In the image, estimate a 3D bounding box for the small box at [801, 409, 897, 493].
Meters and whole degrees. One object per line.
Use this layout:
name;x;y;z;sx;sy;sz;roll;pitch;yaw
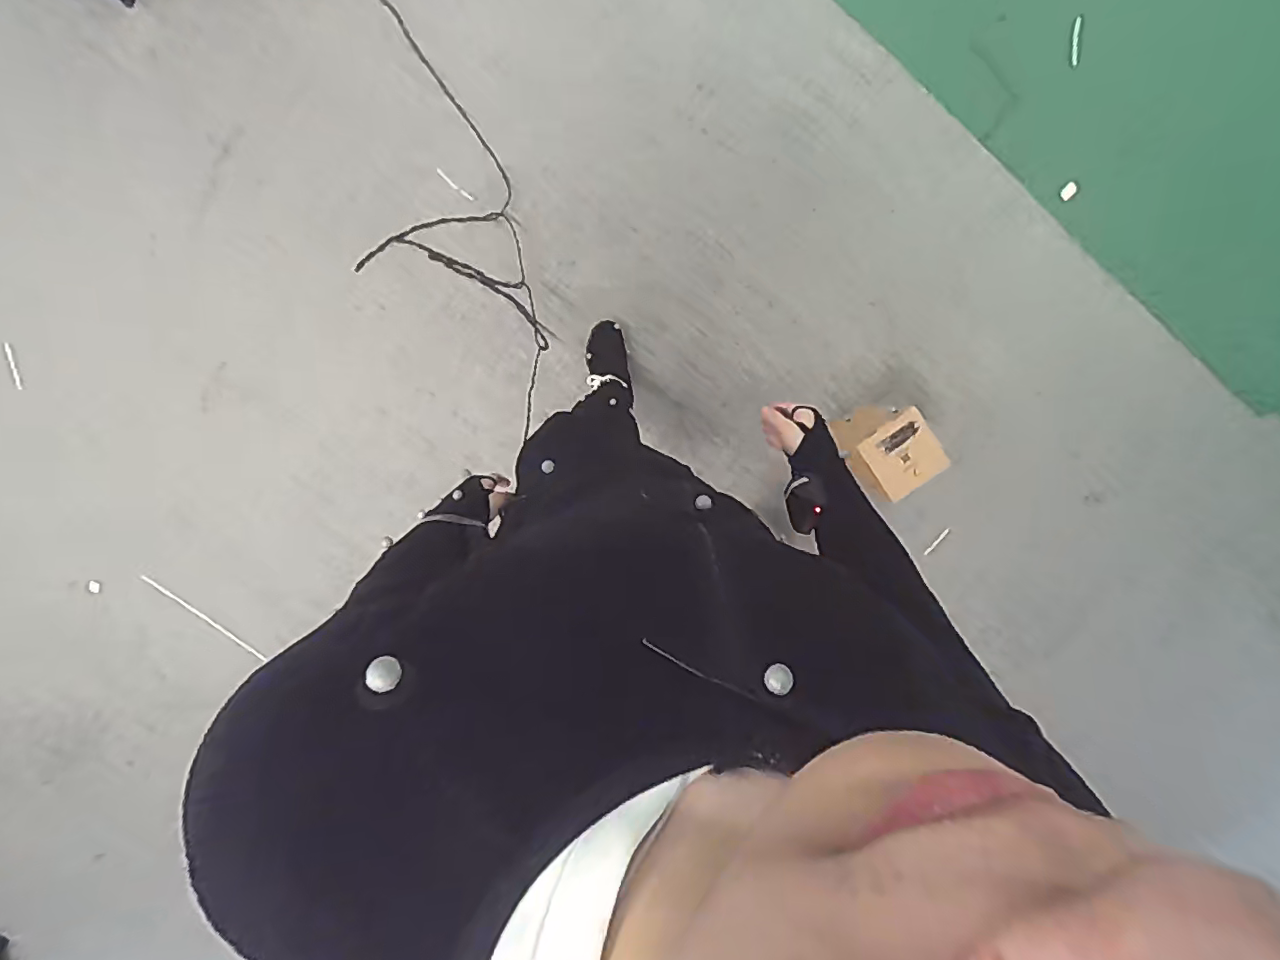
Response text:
small box;0.580;-0.089;1.522;0.168;0.176;0.179;-28;100;4
